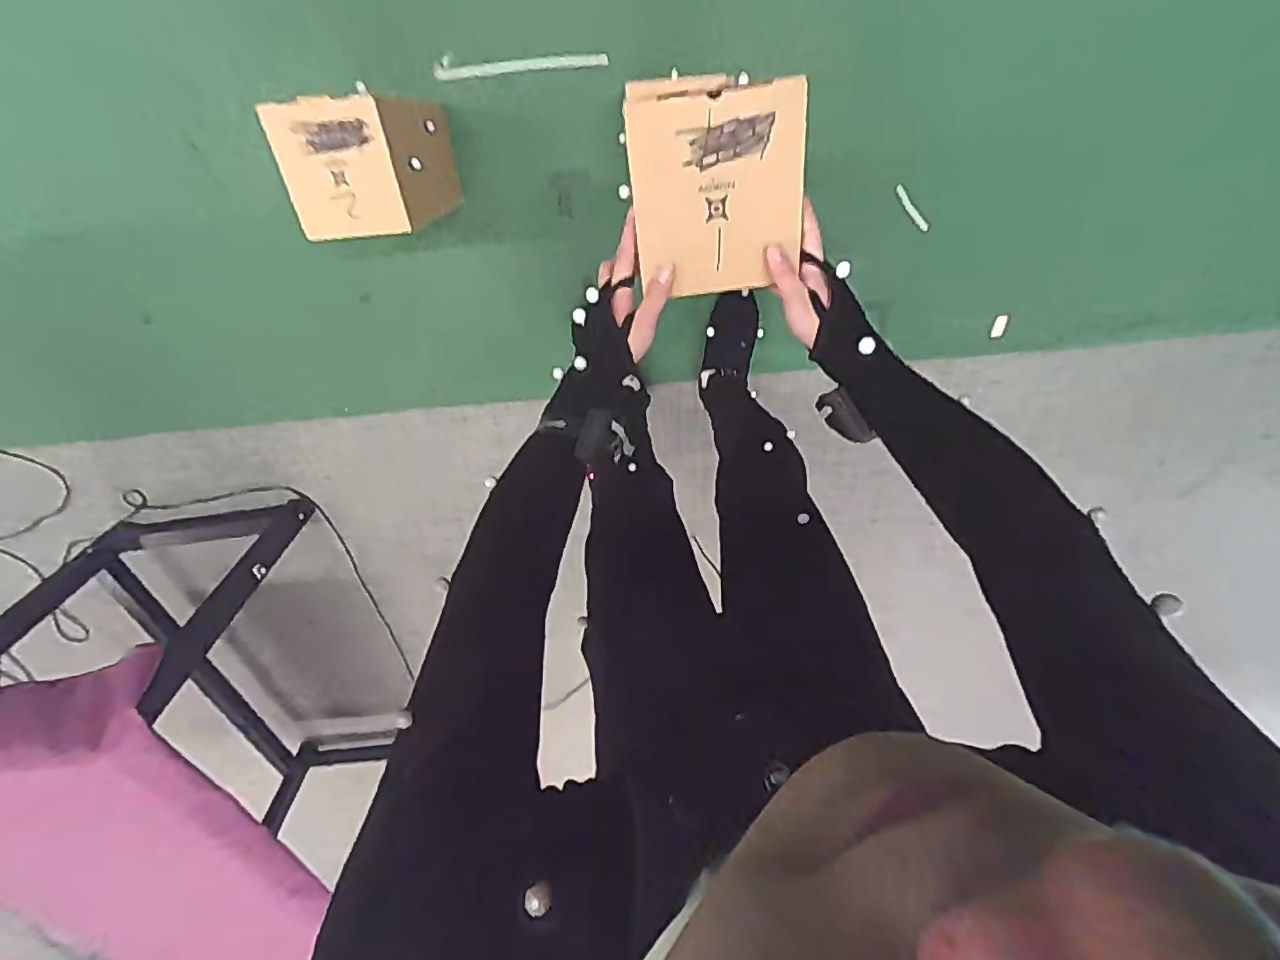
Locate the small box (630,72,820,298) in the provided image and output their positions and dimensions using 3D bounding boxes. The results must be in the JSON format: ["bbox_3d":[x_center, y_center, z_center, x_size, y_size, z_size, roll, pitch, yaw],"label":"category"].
[{"bbox_3d":[0.080,-0.310,0.578,0.168,0.176,0.179,-6,122,2],"label":"small box"}]

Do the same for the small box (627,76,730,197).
[{"bbox_3d":[0.064,-0.613,0.980,0.168,0.176,0.179,-4,123,0],"label":"small box"}]

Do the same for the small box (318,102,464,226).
[{"bbox_3d":[-0.437,-0.576,0.986,0.168,0.176,0.179,-5,122,1],"label":"small box"}]
